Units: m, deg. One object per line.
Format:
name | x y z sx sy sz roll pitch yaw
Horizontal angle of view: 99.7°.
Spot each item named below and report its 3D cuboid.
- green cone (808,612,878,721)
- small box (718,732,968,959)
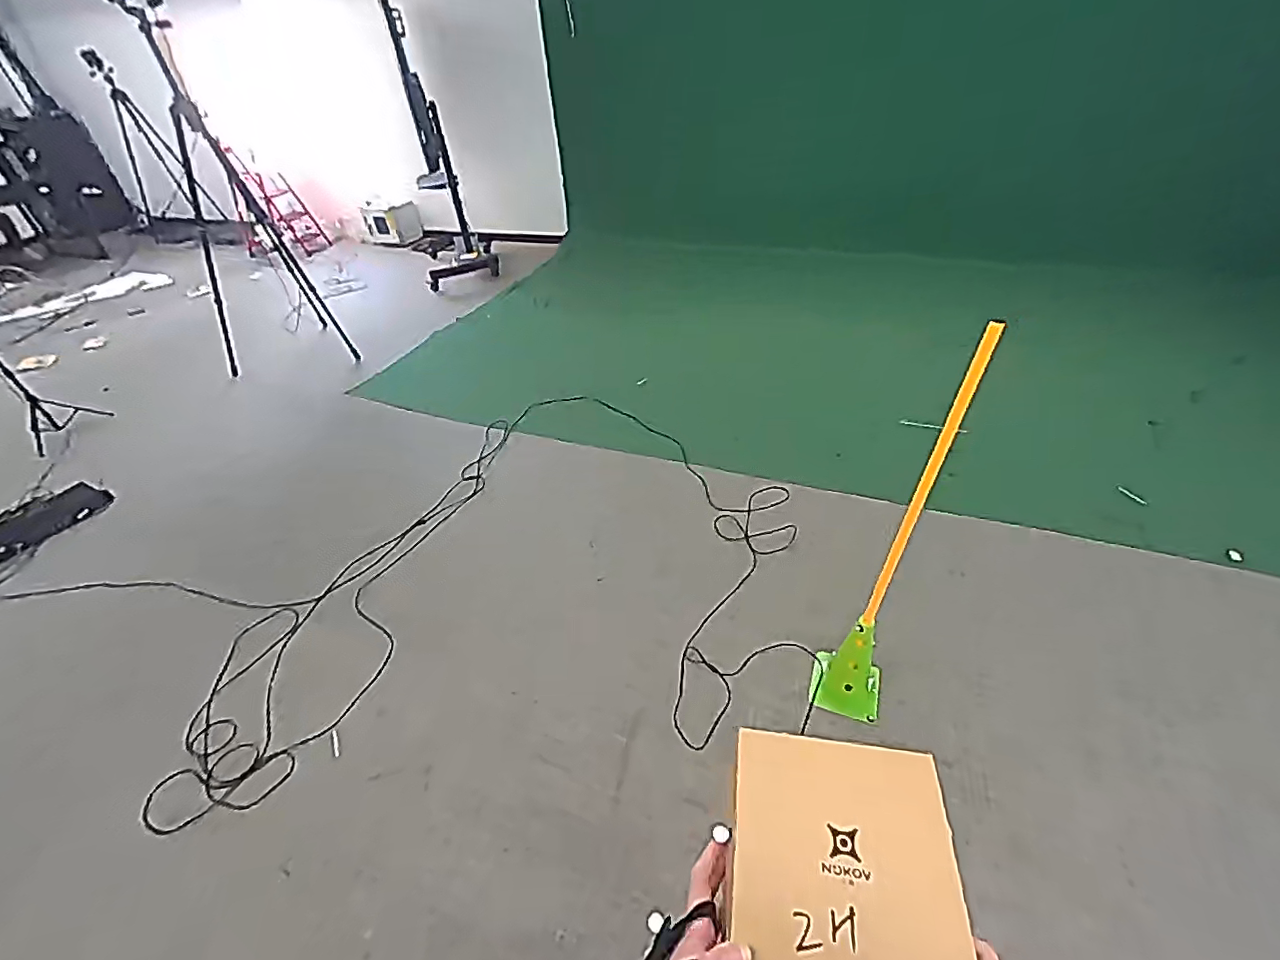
green cone | 0.637 0.521 1.621 0.202 0.368 0.200 11 42 19
small box | 0.160 0.355 0.475 0.168 0.176 0.179 5 44 10
